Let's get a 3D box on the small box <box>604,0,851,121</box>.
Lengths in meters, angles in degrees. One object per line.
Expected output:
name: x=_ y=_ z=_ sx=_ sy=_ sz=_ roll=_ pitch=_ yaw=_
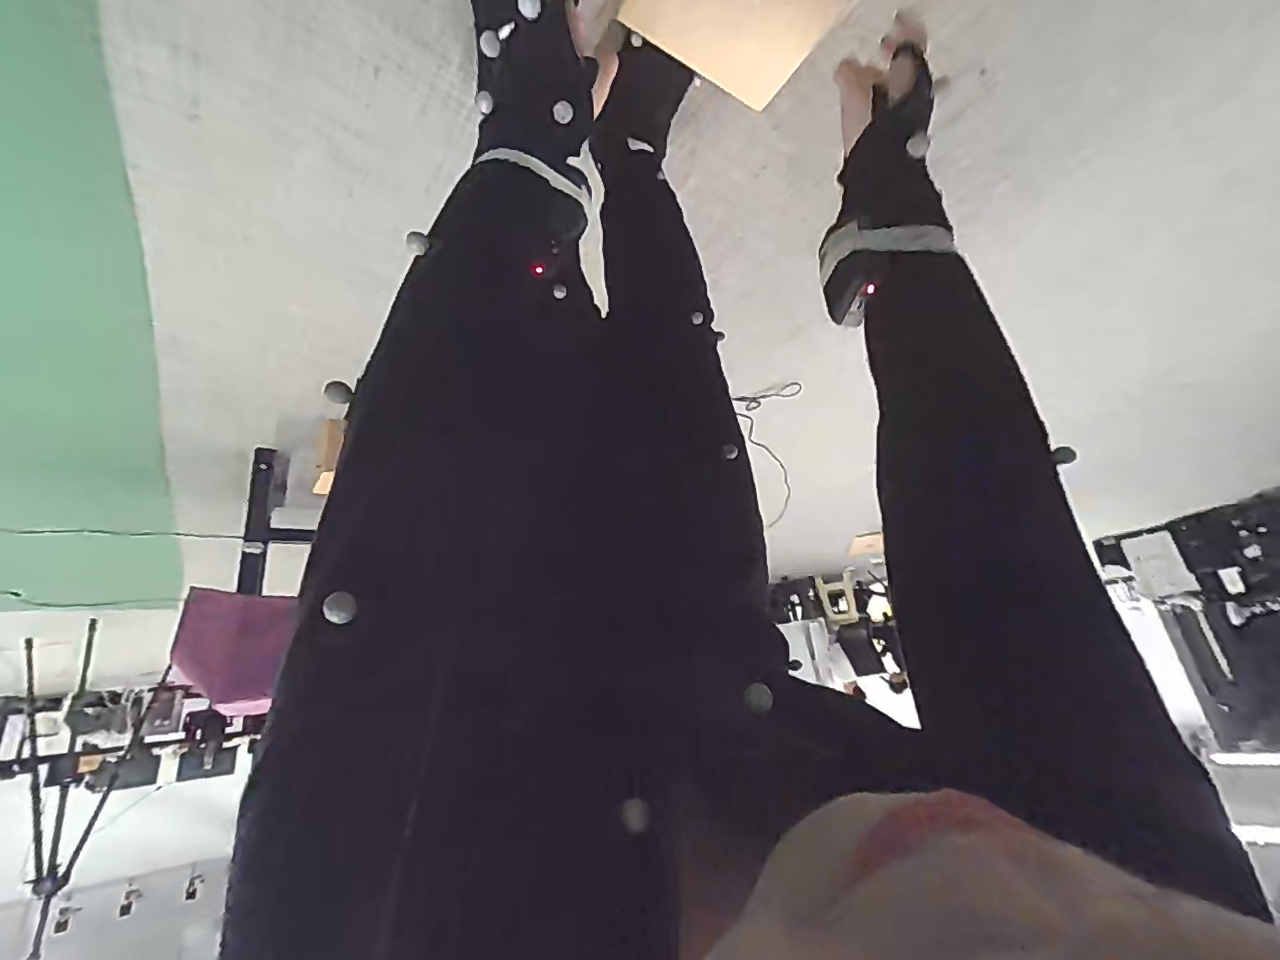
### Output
small box: x=0.077 y=-0.468 z=0.456 sx=0.168 sy=0.176 sz=0.179 roll=7 pitch=155 yaw=-33
